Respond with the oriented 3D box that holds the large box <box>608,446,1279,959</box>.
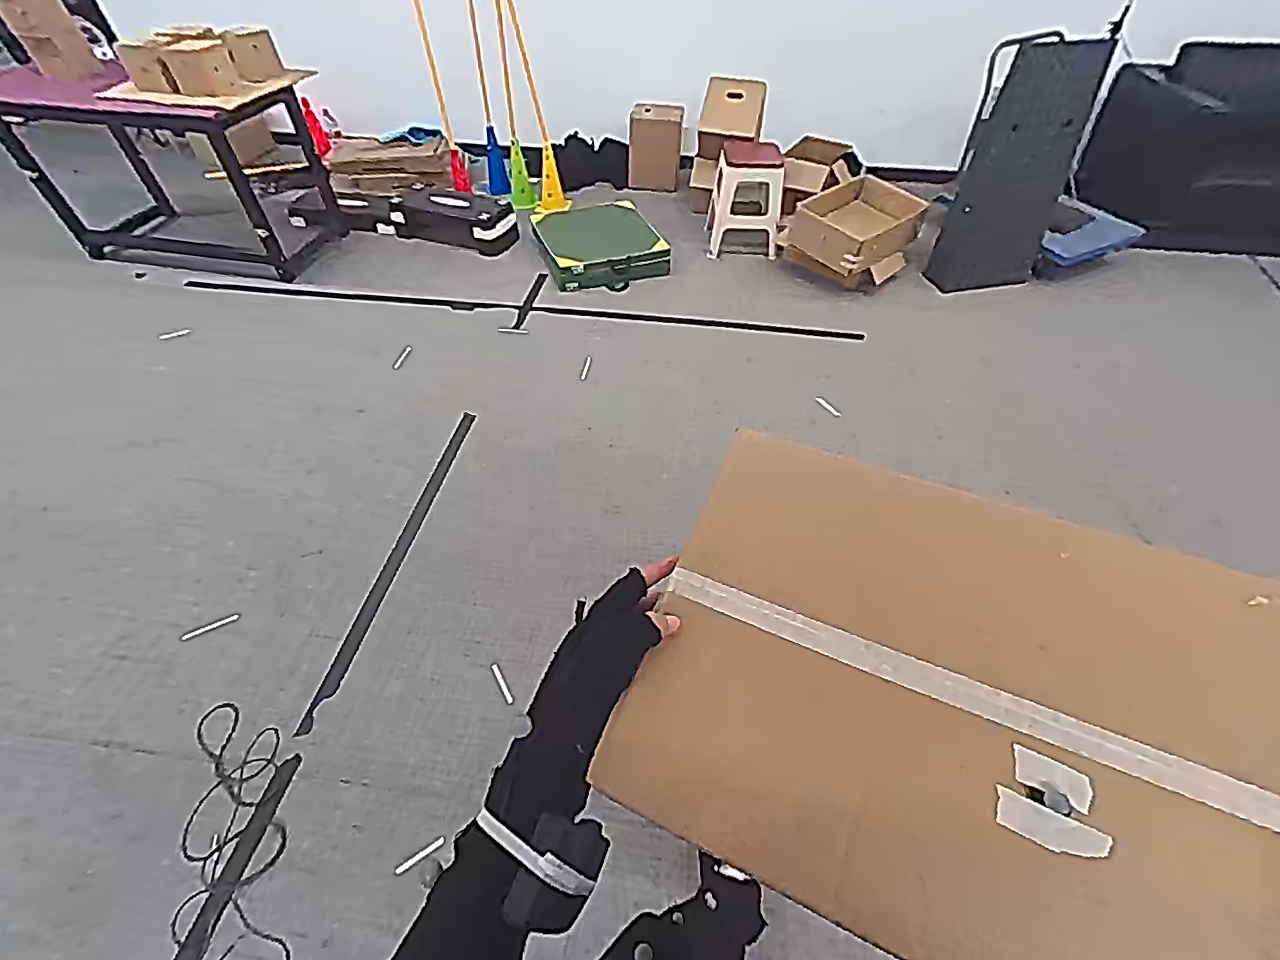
[{"bbox_3d":[0.231,0.221,0.514,0.408,0.320,0.320,19,65,18],"label":"large box"}]
